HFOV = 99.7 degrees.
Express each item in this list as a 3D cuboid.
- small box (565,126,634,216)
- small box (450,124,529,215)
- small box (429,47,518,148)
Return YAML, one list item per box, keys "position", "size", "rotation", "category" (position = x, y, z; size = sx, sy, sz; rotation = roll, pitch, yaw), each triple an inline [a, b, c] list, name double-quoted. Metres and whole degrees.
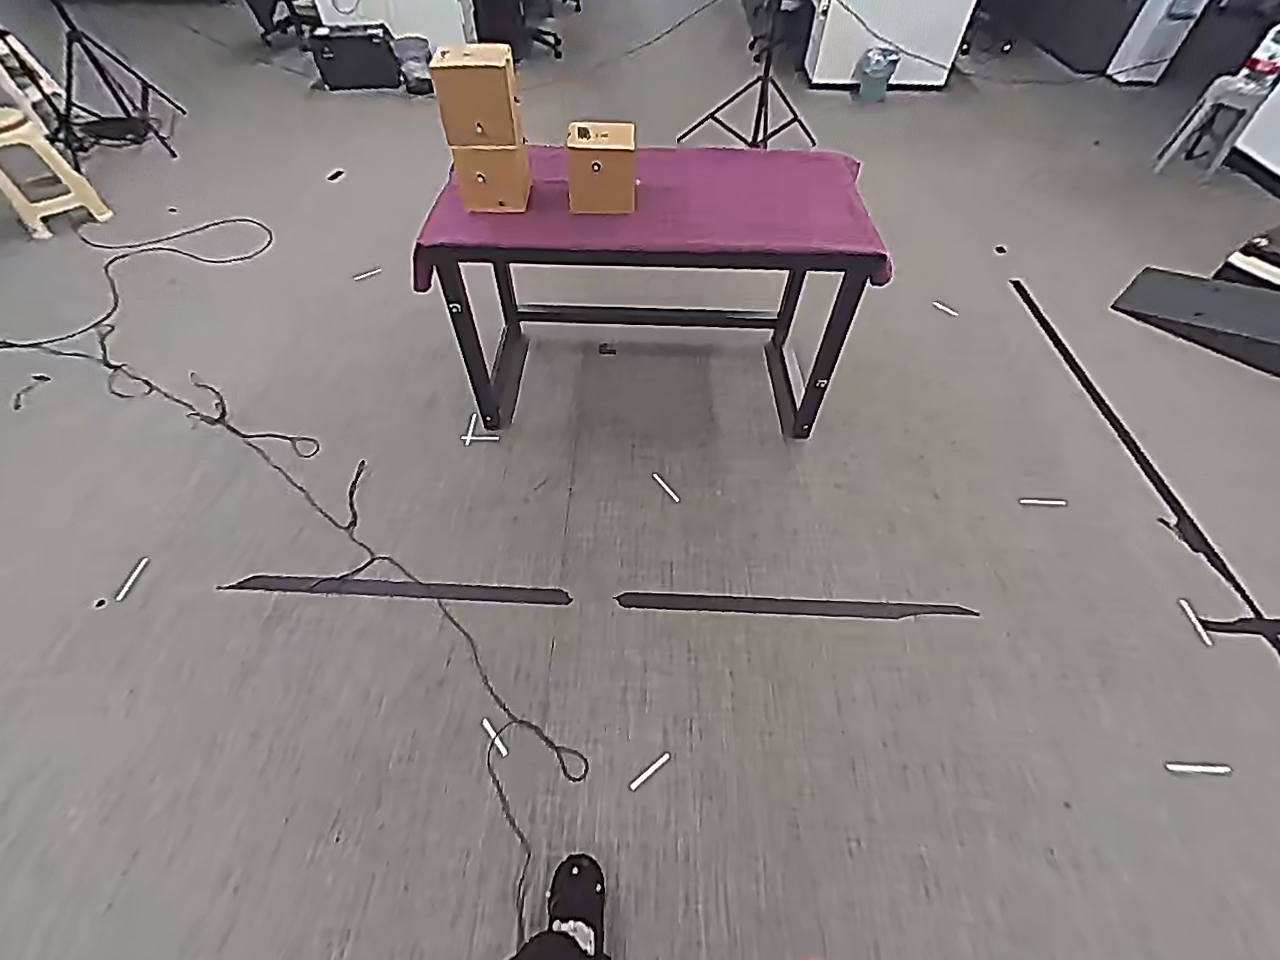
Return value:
- position: [-0.106, -0.844, 1.479]
  size: [0.179, 0.176, 0.168]
  rotation: [0, 53, -2]
  category: "small box"
- position: [-0.401, -0.845, 1.476]
  size: [0.168, 0.176, 0.179]
  rotation: [-2, 52, -2]
  category: "small box"
- position: [-0.405, -0.951, 1.351]
  size: [0.179, 0.176, 0.168]
  rotation: [-3, 52, -4]
  category: "small box"
